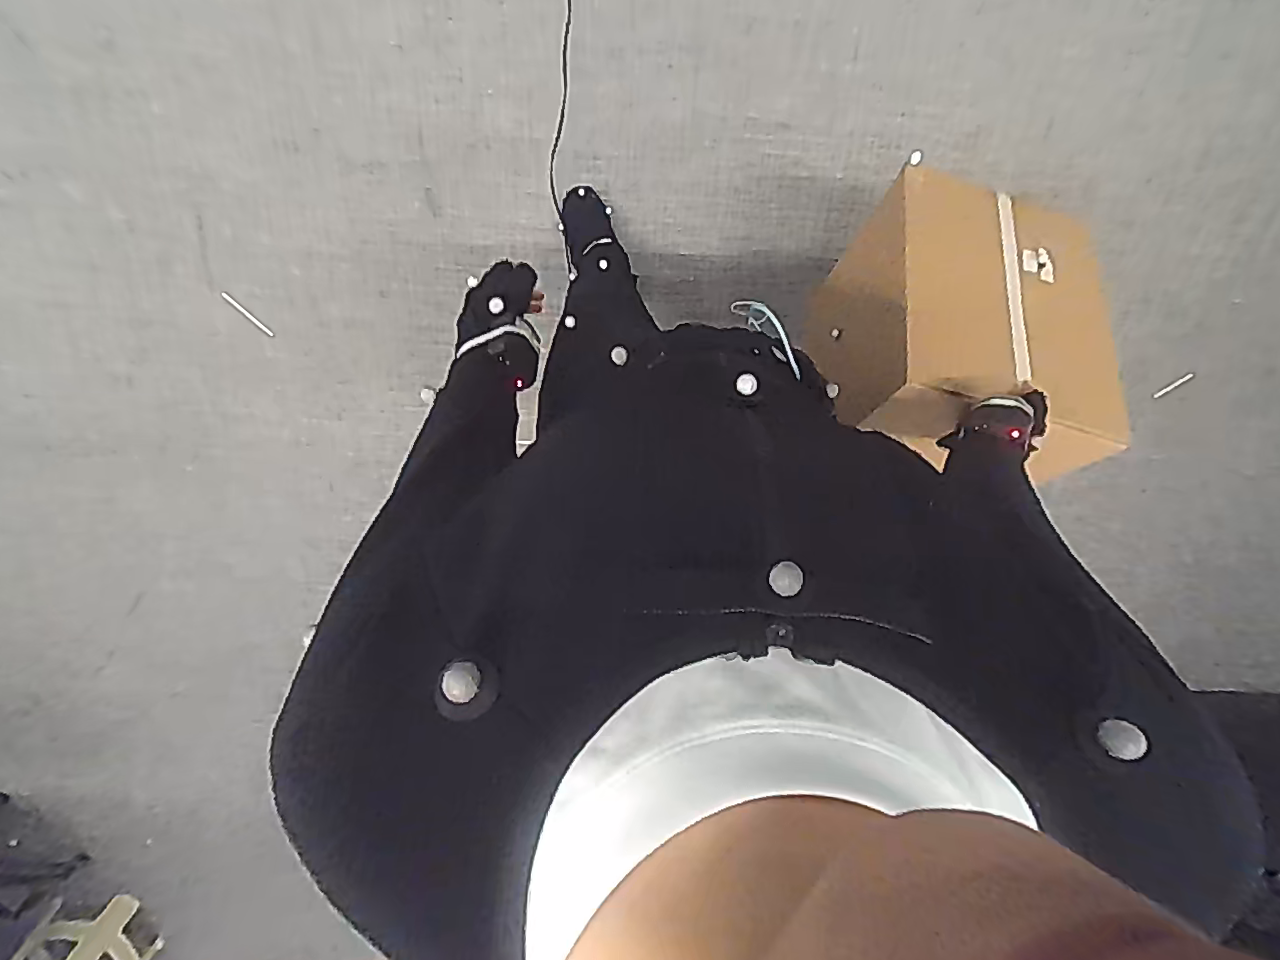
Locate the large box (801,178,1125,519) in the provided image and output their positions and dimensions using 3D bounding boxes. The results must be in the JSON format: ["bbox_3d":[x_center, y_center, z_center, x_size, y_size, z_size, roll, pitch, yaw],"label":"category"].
[{"bbox_3d":[0.480,-0.192,0.891,0.320,0.408,0.320,15,155,-6],"label":"large box"}]
